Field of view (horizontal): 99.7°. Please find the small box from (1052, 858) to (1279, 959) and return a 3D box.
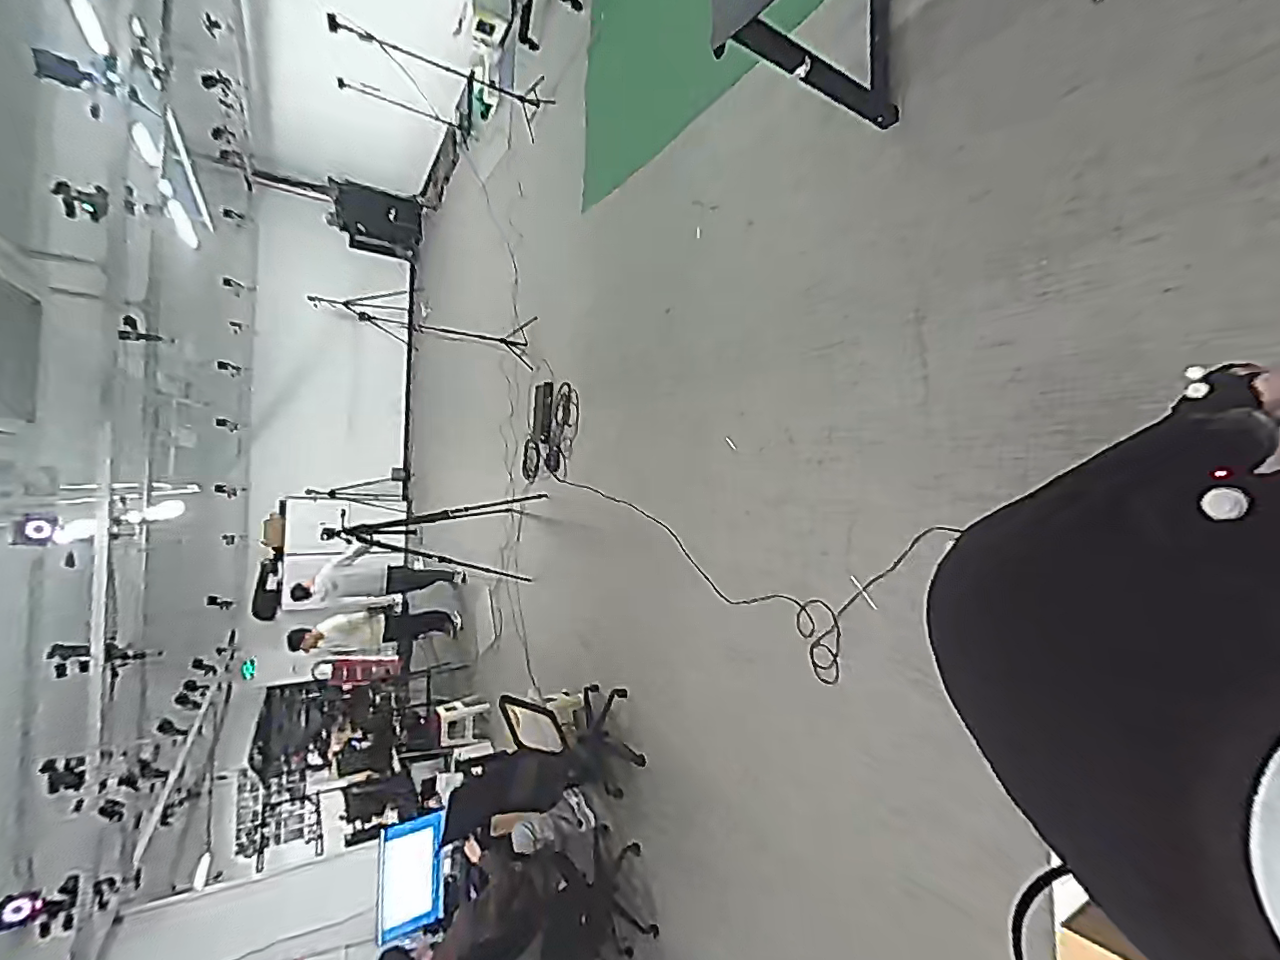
[{"bbox_3d":[0.563,0.546,0.560,0.168,0.176,0.179,-5,83,58],"label":"small box"}]
